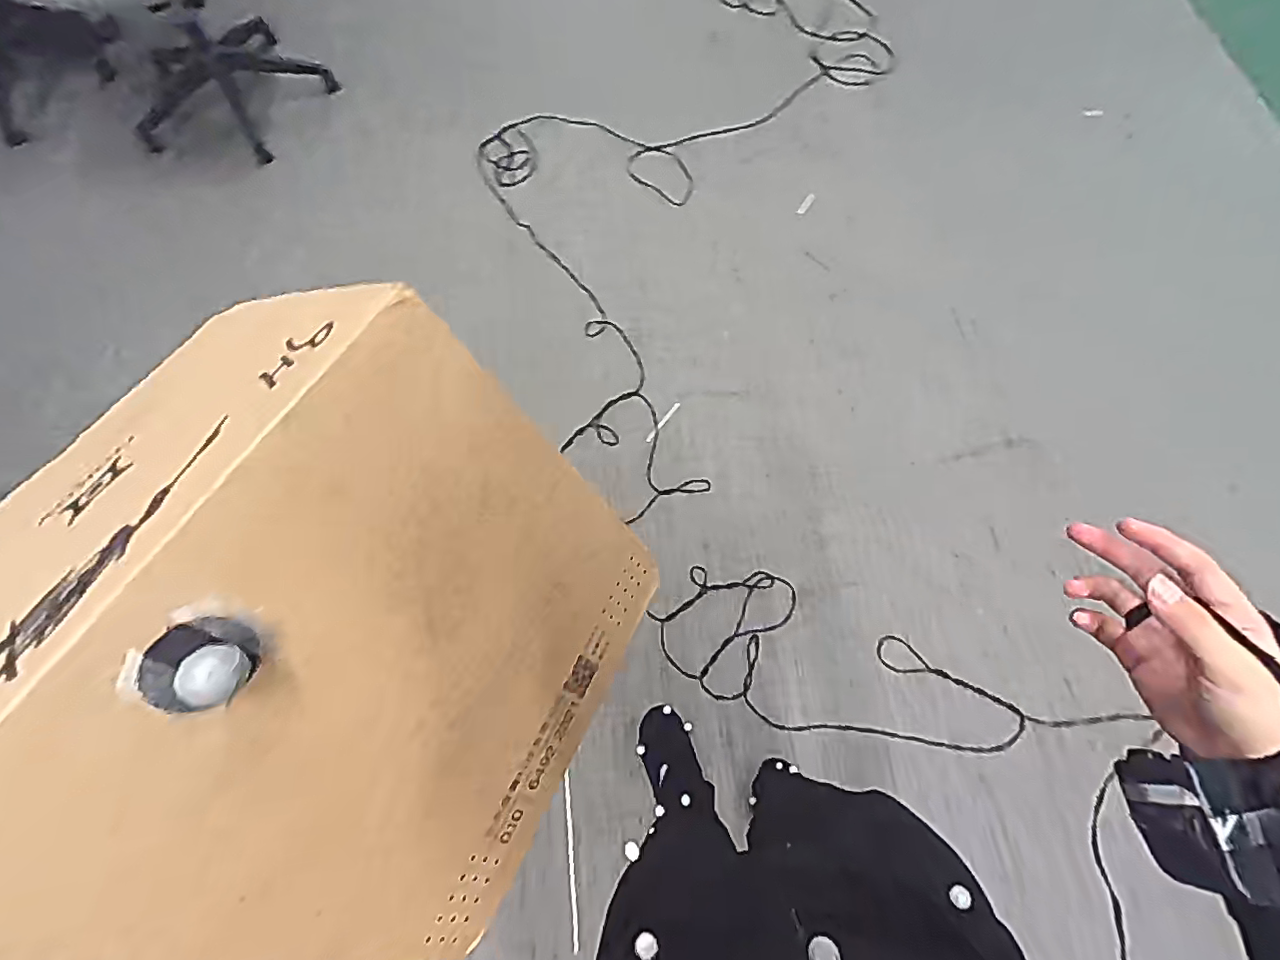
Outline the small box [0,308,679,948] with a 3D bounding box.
[{"bbox_3d":[-0.115,0.053,0.226,0.179,0.176,0.168,10,62,39],"label":"small box"}]
